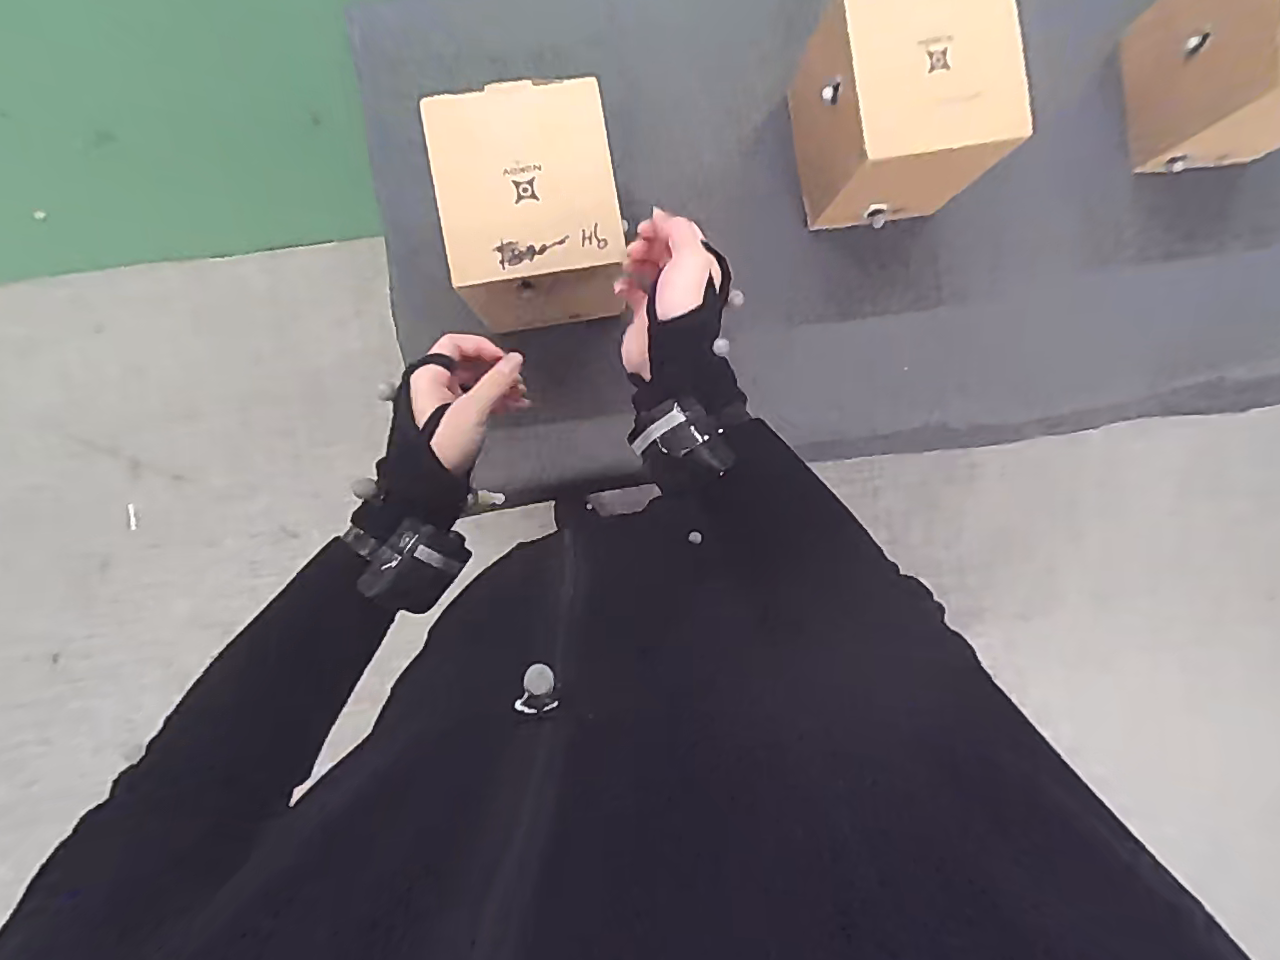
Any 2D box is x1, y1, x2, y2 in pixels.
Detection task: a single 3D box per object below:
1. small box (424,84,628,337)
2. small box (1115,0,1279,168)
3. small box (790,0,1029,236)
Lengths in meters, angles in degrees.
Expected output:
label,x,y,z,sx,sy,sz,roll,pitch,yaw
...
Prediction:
label,x,y,z,sx,sy,sz,roll,pitch,yaw
small box,-0.109,-0.269,0.577,0.168,0.176,0.179,-10,91,-2
small box,0.691,-0.478,0.609,0.168,0.176,0.179,-7,91,-2
small box,0.278,-0.399,0.595,0.168,0.176,0.179,-10,93,-1
